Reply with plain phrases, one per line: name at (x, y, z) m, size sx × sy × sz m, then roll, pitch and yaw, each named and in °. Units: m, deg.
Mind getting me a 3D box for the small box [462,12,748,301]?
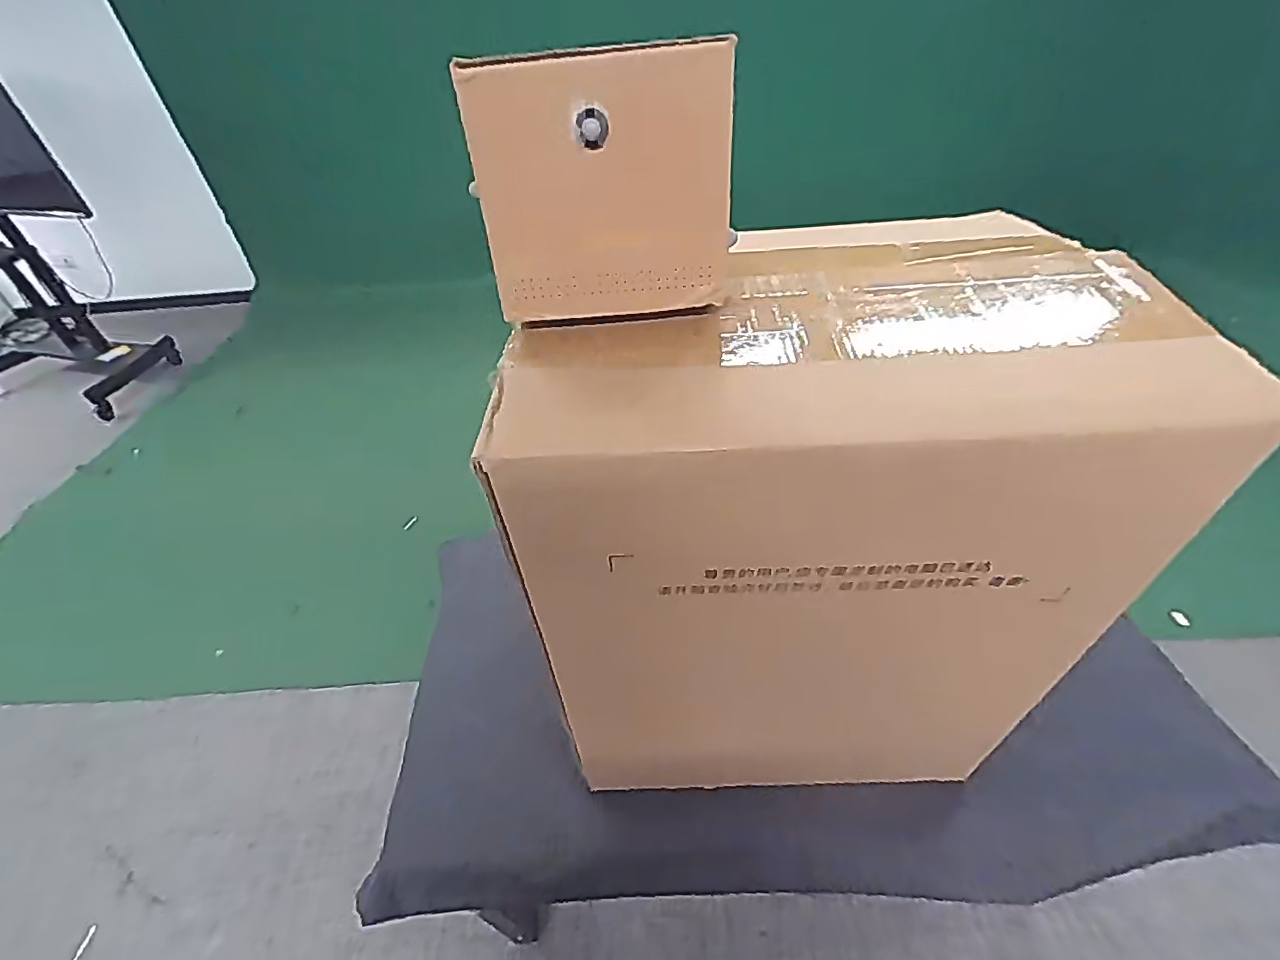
small box at (-0.021, -0.250, 0.431) m, size 0.179 × 0.176 × 0.168 m, roll -3°, pitch 36°, yaw -2°
